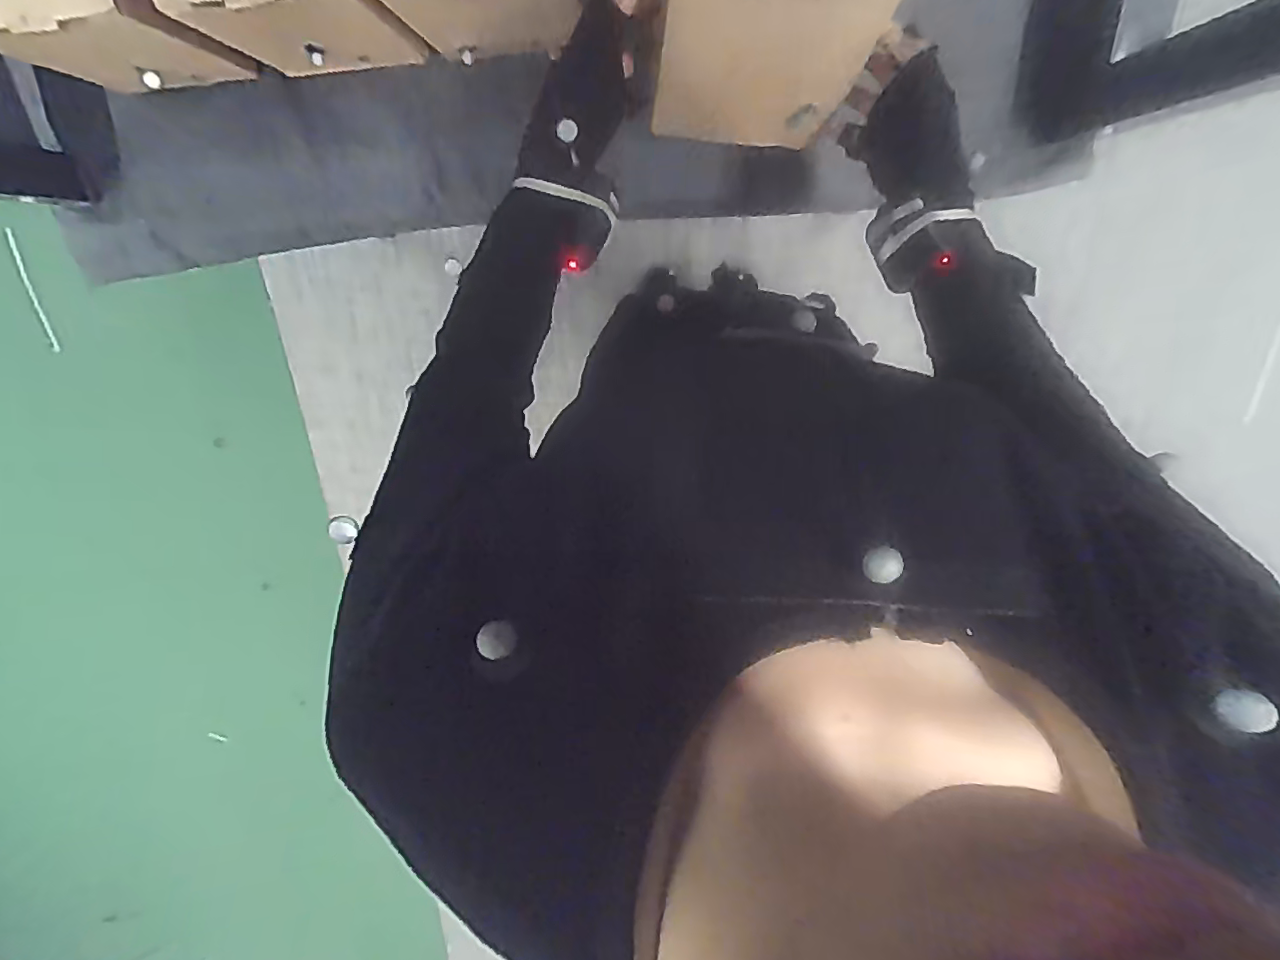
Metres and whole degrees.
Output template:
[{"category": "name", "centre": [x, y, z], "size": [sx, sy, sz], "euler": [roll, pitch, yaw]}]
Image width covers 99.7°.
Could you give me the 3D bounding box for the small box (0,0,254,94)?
[{"category": "small box", "centre": [-0.512, -0.491, 0.500], "size": [0.168, 0.176, 0.179], "euler": [-3, 111, 5]}]
